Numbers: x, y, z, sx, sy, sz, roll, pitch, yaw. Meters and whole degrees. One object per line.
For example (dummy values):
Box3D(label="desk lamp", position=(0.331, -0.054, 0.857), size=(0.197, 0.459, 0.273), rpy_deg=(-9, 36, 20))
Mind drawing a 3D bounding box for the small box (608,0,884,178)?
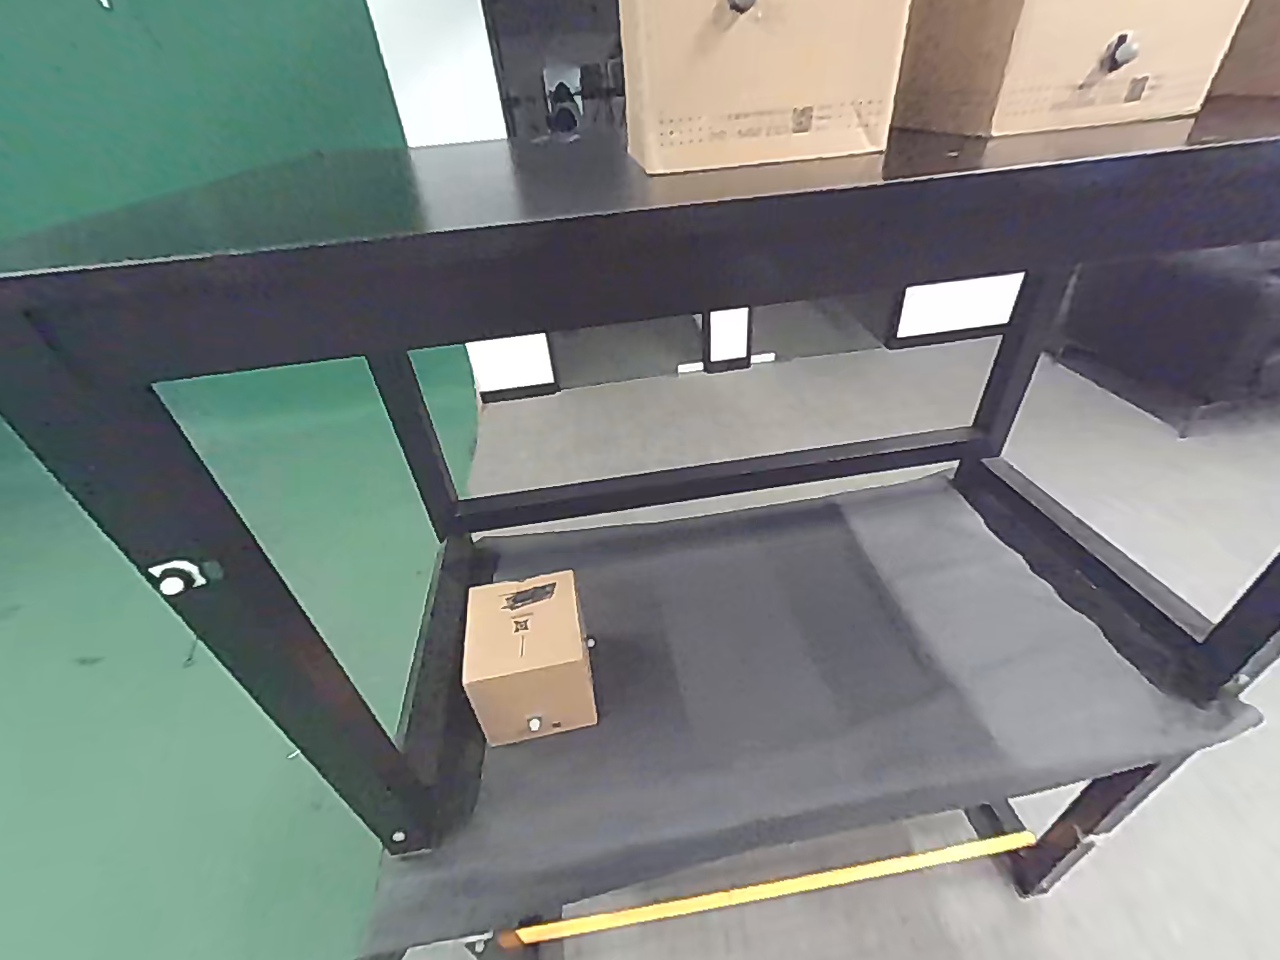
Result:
Box3D(label="small box", position=(0.065, -0.325, 0.391), size=(0.168, 0.176, 0.179), rpy_deg=(-7, 35, -1))

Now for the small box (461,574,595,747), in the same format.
Box3D(label="small box", position=(-0.167, 0.276, 0.839), size=(0.168, 0.176, 0.179), rpy_deg=(-10, 37, -6))
